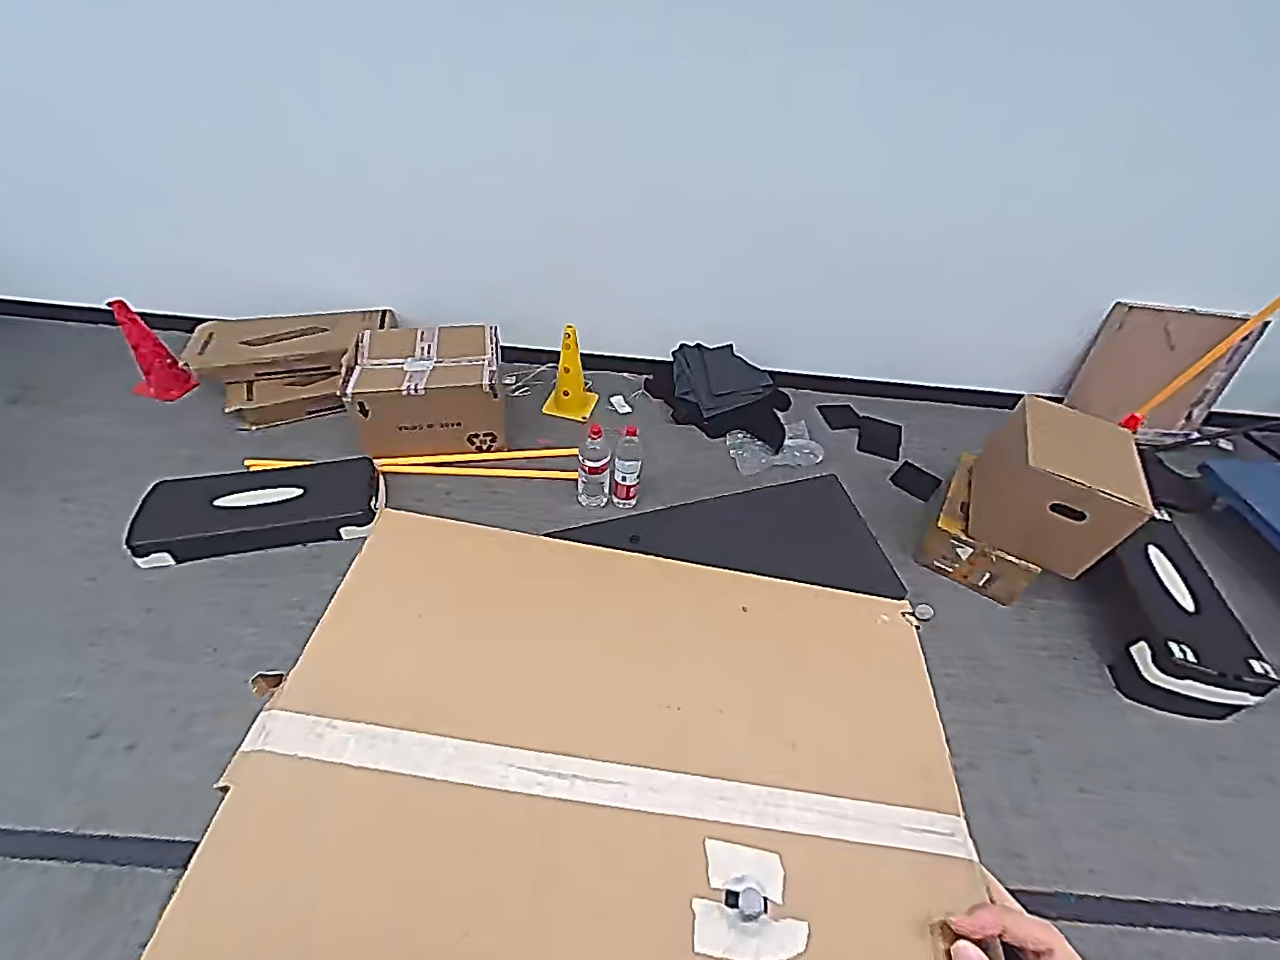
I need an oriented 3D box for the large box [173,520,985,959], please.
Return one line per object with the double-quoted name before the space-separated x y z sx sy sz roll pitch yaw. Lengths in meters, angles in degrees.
"large box" -0.030 0.274 0.427 0.408 0.320 0.320 12 49 -3
